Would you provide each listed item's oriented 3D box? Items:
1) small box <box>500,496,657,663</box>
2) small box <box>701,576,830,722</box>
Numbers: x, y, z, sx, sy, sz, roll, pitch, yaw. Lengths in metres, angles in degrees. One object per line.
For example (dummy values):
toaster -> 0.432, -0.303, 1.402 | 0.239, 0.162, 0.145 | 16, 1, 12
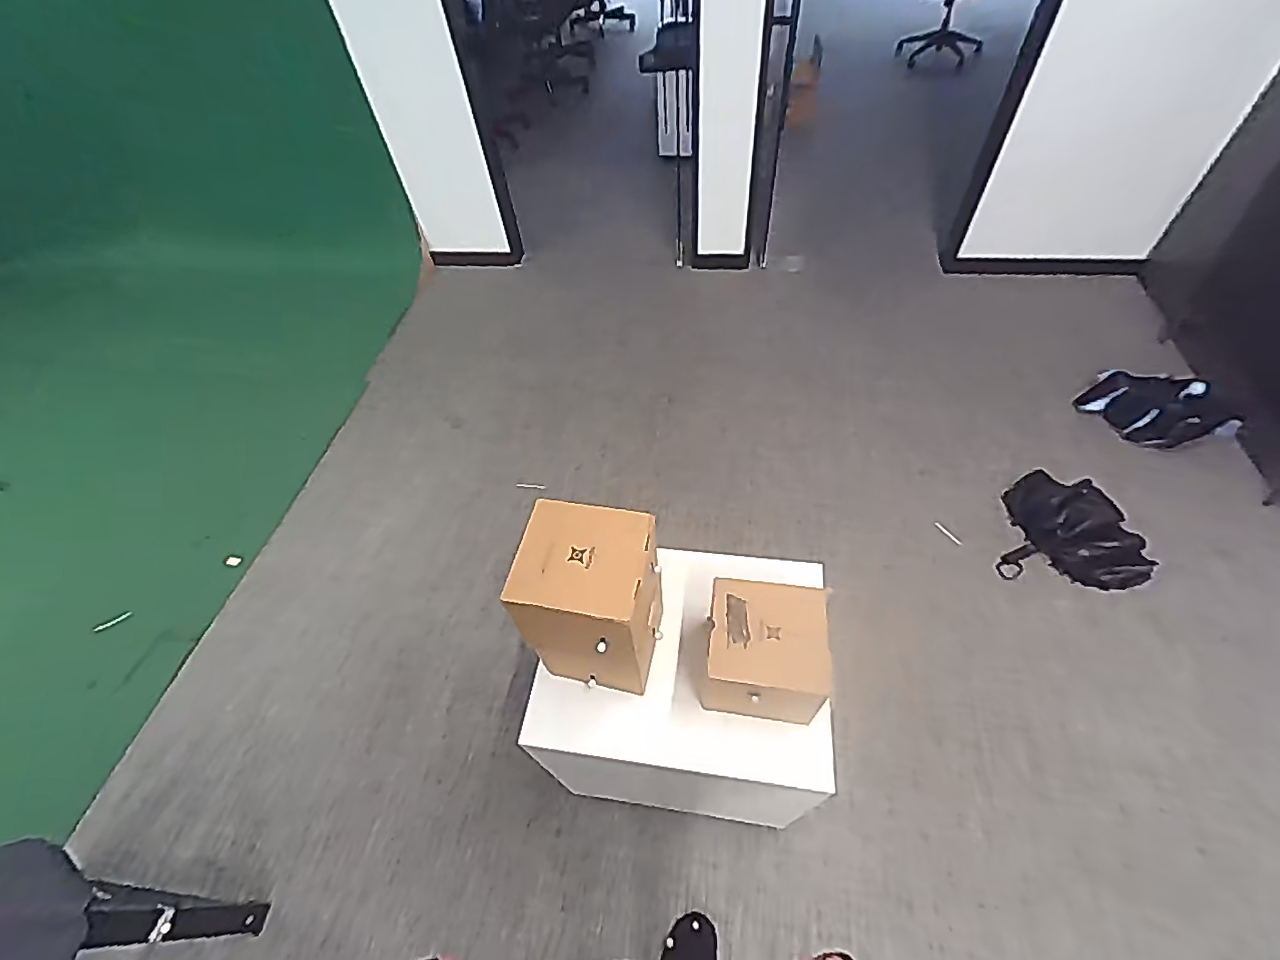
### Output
small box -> -0.073, 0.146, 0.769 | 0.179, 0.176, 0.168 | 6, 51, 8
small box -> 0.193, 0.274, 0.867 | 0.179, 0.176, 0.168 | 6, 53, 6
